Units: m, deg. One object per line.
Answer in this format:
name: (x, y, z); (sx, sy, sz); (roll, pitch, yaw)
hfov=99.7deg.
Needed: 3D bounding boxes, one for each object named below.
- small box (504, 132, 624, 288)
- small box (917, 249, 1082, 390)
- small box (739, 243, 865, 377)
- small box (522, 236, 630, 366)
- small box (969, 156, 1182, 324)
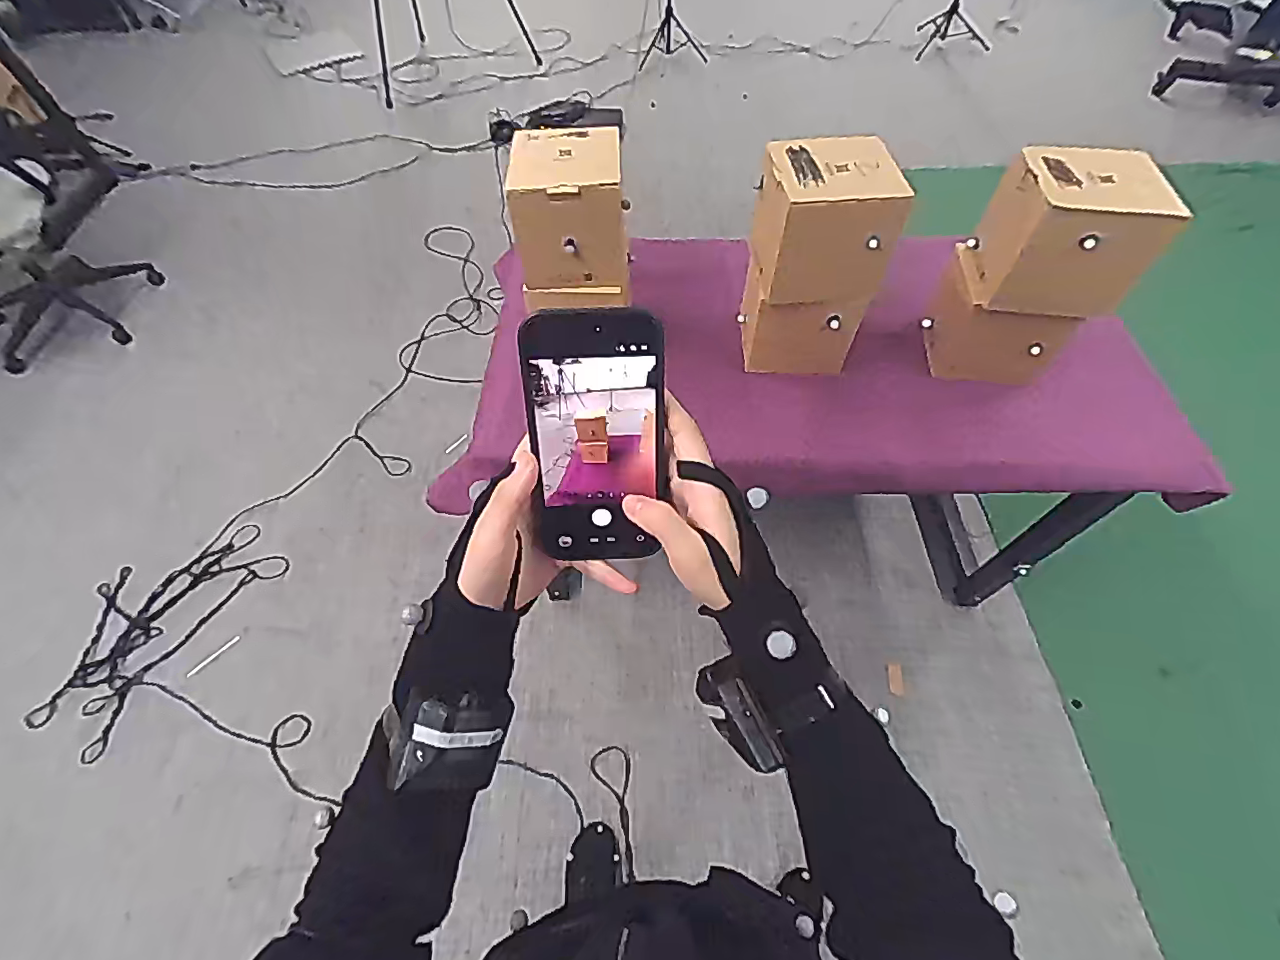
small box: (-0.111, -0.428, 0.874); (0.168, 0.176, 0.179); (-2, 58, 0)
small box: (0.619, -0.278, 0.954); (0.179, 0.176, 0.168); (7, 57, 6)
small box: (0.280, -0.301, 0.976); (0.179, 0.176, 0.168); (2, 57, 3)
small box: (-0.109, -0.331, 1.007); (0.168, 0.176, 0.179); (2, 57, 3)
small box: (0.624, -0.354, 0.809); (0.179, 0.176, 0.168); (7, 57, 5)
